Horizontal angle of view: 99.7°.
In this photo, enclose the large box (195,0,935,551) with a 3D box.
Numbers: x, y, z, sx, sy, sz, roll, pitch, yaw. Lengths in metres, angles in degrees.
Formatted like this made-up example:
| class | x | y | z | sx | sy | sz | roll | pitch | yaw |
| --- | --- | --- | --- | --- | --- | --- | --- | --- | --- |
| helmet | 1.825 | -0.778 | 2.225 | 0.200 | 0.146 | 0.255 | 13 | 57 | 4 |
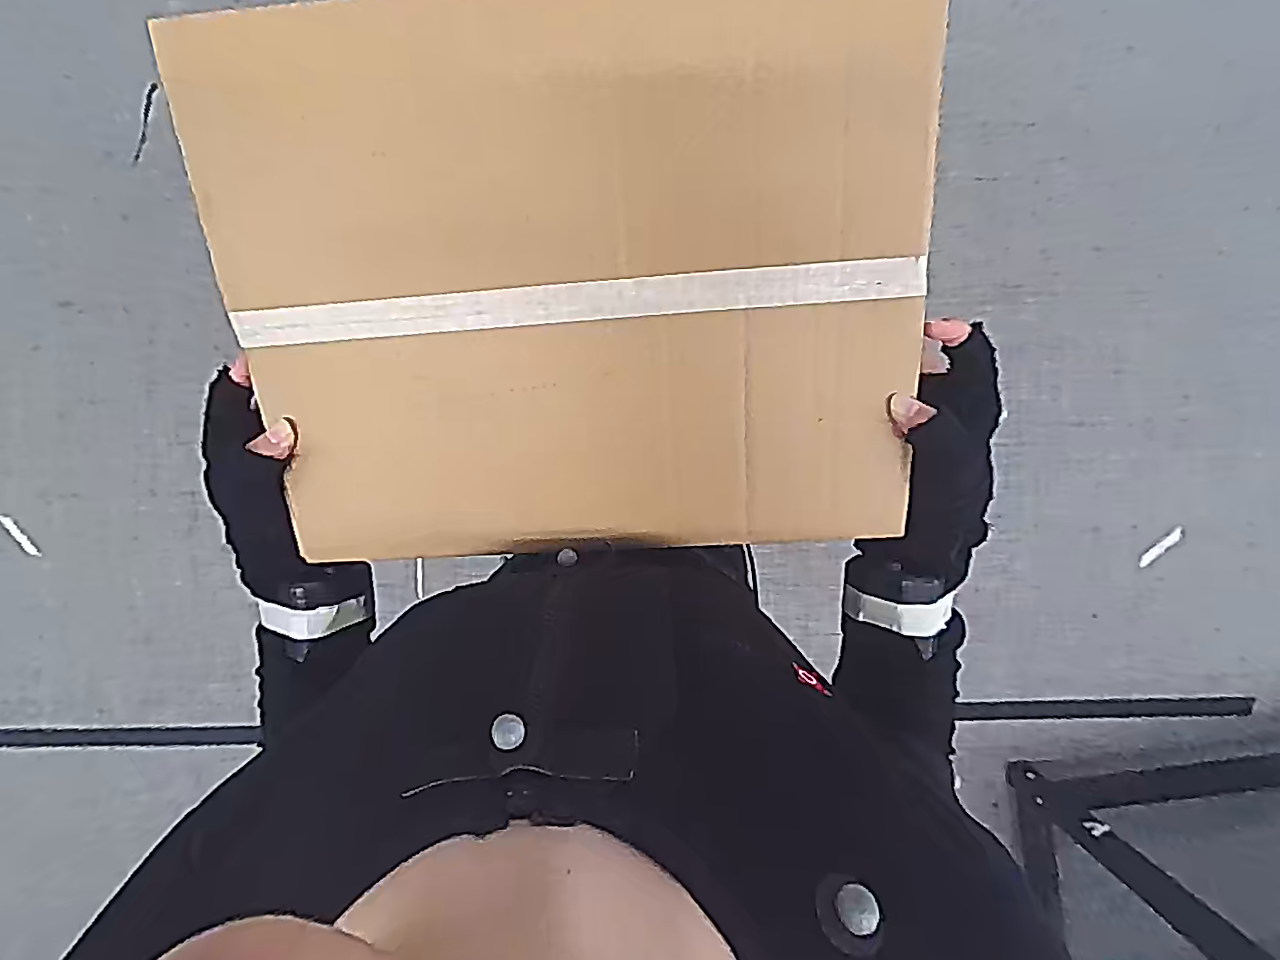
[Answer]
| class | x | y | z | sx | sy | sz | roll | pitch | yaw |
| --- | --- | --- | --- | --- | --- | --- | --- | --- | --- |
| large box | -0.033 | -0.150 | 0.467 | 0.408 | 0.320 | 0.320 | -3 | 108 | 3 |
